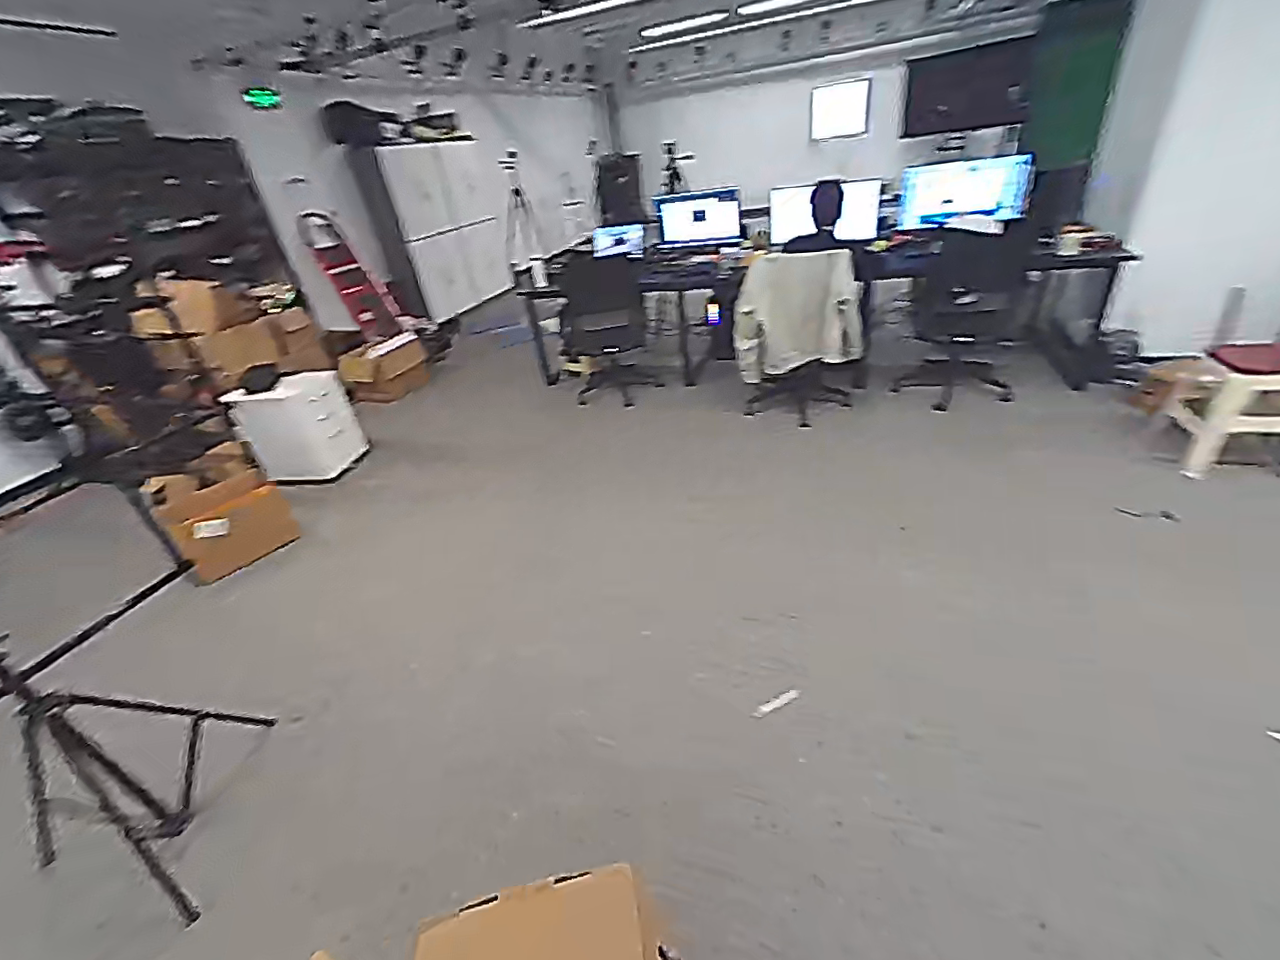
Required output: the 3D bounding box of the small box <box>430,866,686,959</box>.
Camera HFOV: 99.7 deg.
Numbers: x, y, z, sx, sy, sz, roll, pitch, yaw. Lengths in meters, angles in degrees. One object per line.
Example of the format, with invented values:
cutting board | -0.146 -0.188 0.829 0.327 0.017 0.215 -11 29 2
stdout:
small box | -0.045 0.415 0.376 0.168 0.176 0.179 -15 36 1
